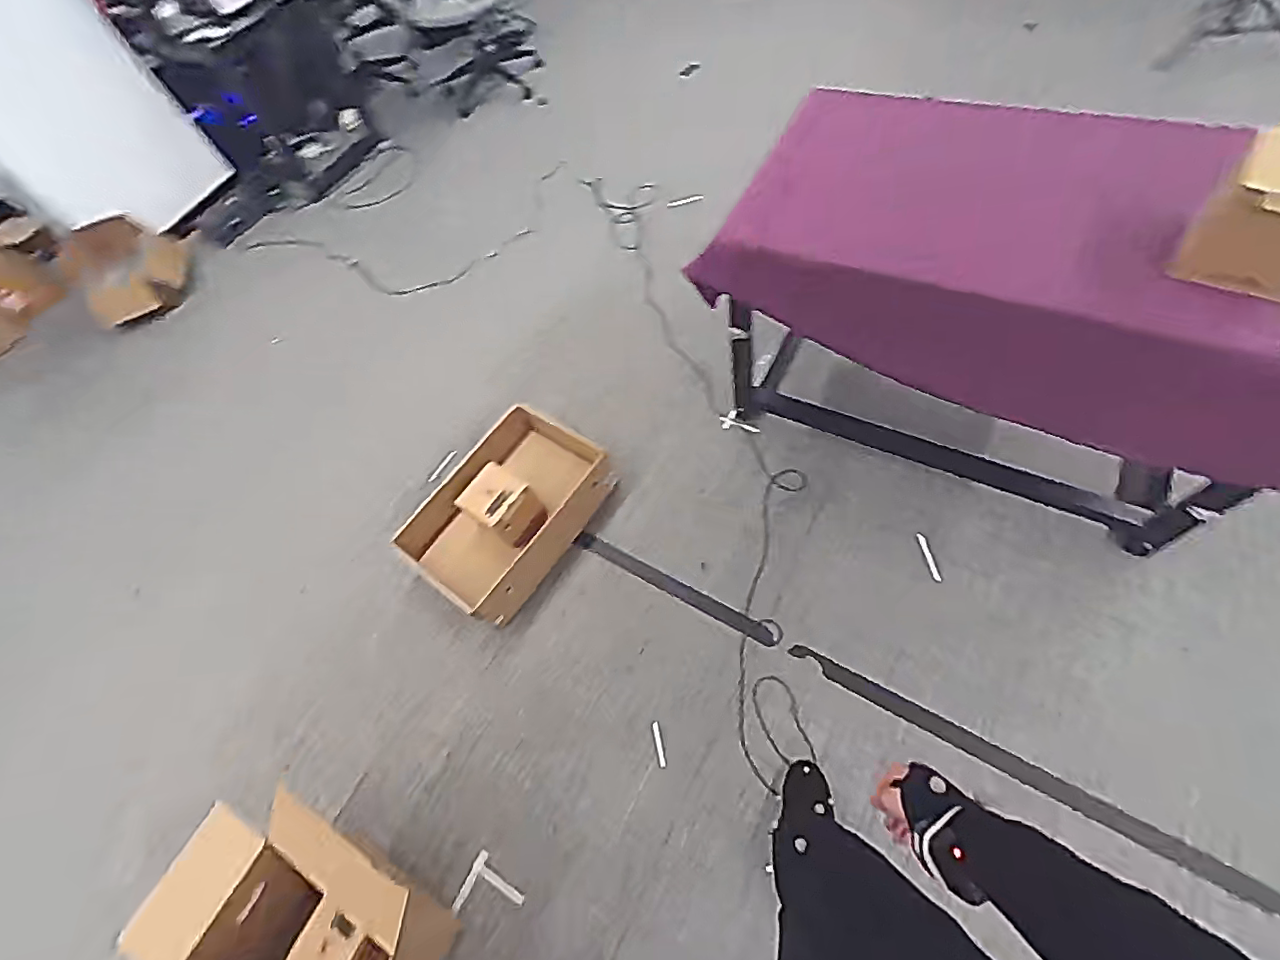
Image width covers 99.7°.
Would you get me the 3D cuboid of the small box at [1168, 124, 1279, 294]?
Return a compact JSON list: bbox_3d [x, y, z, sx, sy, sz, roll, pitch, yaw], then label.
[{"bbox_3d":[1.027,-0.438,0.884,0.168,0.176,0.179,28,70,24],"label":"small box"}]
